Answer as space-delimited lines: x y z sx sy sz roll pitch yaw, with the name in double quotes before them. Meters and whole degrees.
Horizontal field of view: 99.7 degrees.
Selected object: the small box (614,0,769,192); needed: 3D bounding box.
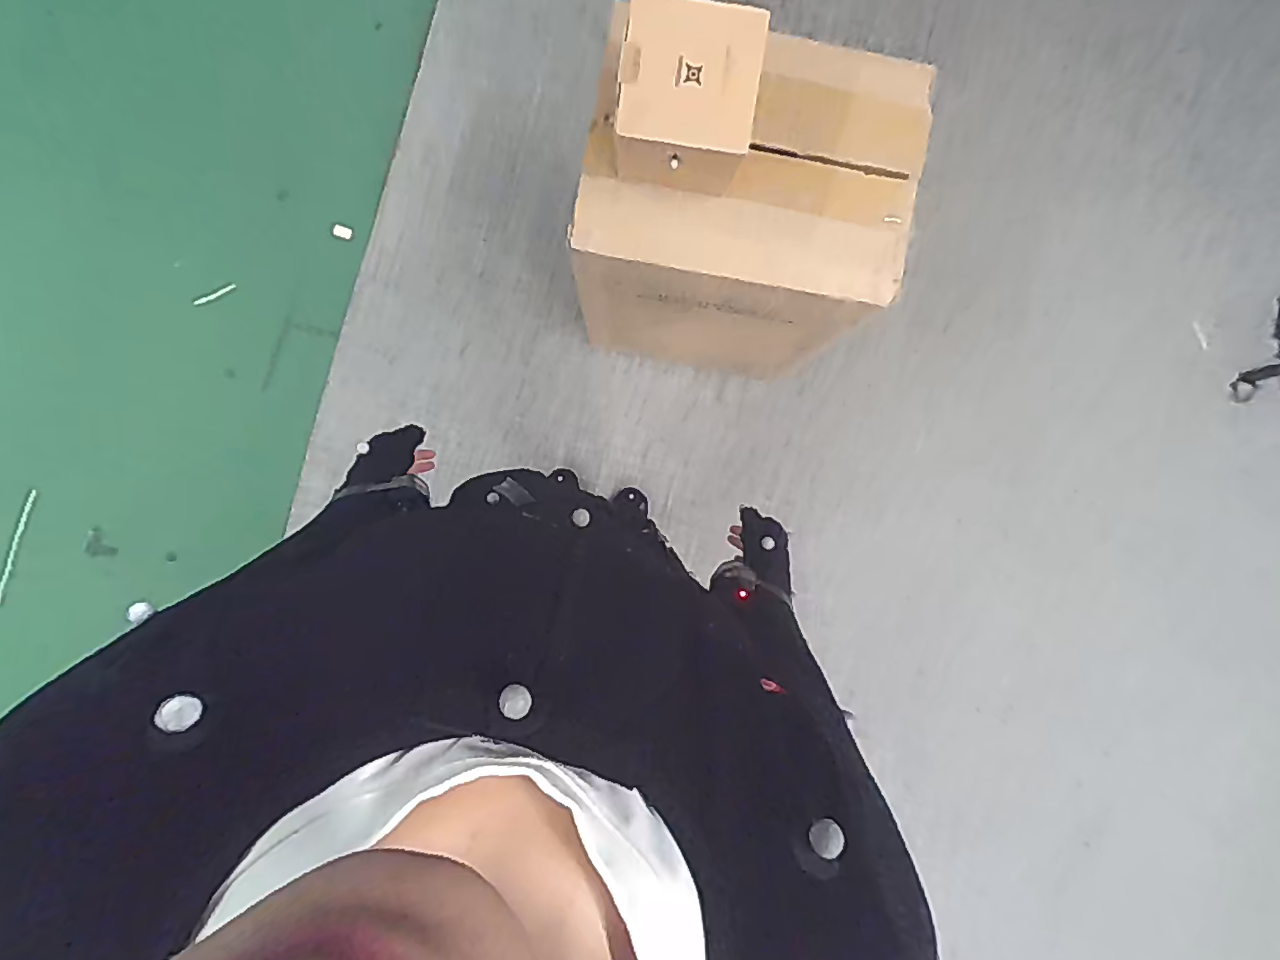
"small box" 0.062 -0.525 0.758 0.179 0.176 0.168 7 101 -3
